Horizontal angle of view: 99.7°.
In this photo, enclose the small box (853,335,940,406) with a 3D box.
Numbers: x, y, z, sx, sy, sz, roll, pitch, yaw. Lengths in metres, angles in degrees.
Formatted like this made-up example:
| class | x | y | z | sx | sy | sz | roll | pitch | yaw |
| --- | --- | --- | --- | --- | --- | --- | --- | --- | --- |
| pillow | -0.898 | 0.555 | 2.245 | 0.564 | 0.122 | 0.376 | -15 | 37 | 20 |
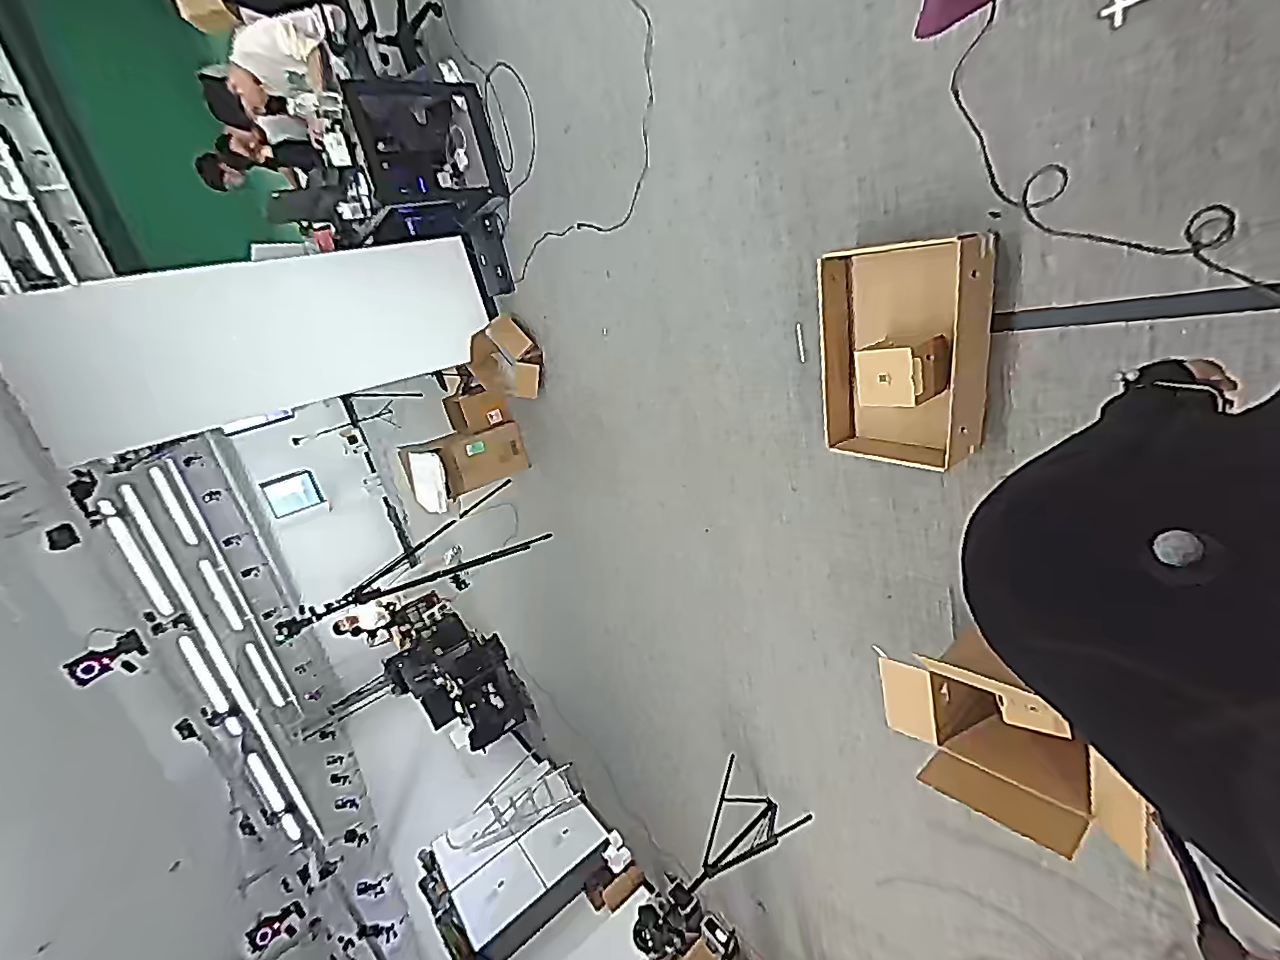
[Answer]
| class | x | y | z | sx | sy | sz | roll | pitch | yaw |
| --- | --- | --- | --- | --- | --- | --- | --- | --- | --- |
| small box | 0.747 | -0.317 | 1.561 | 0.179 | 0.176 | 0.168 | 12 | 119 | 53 |
